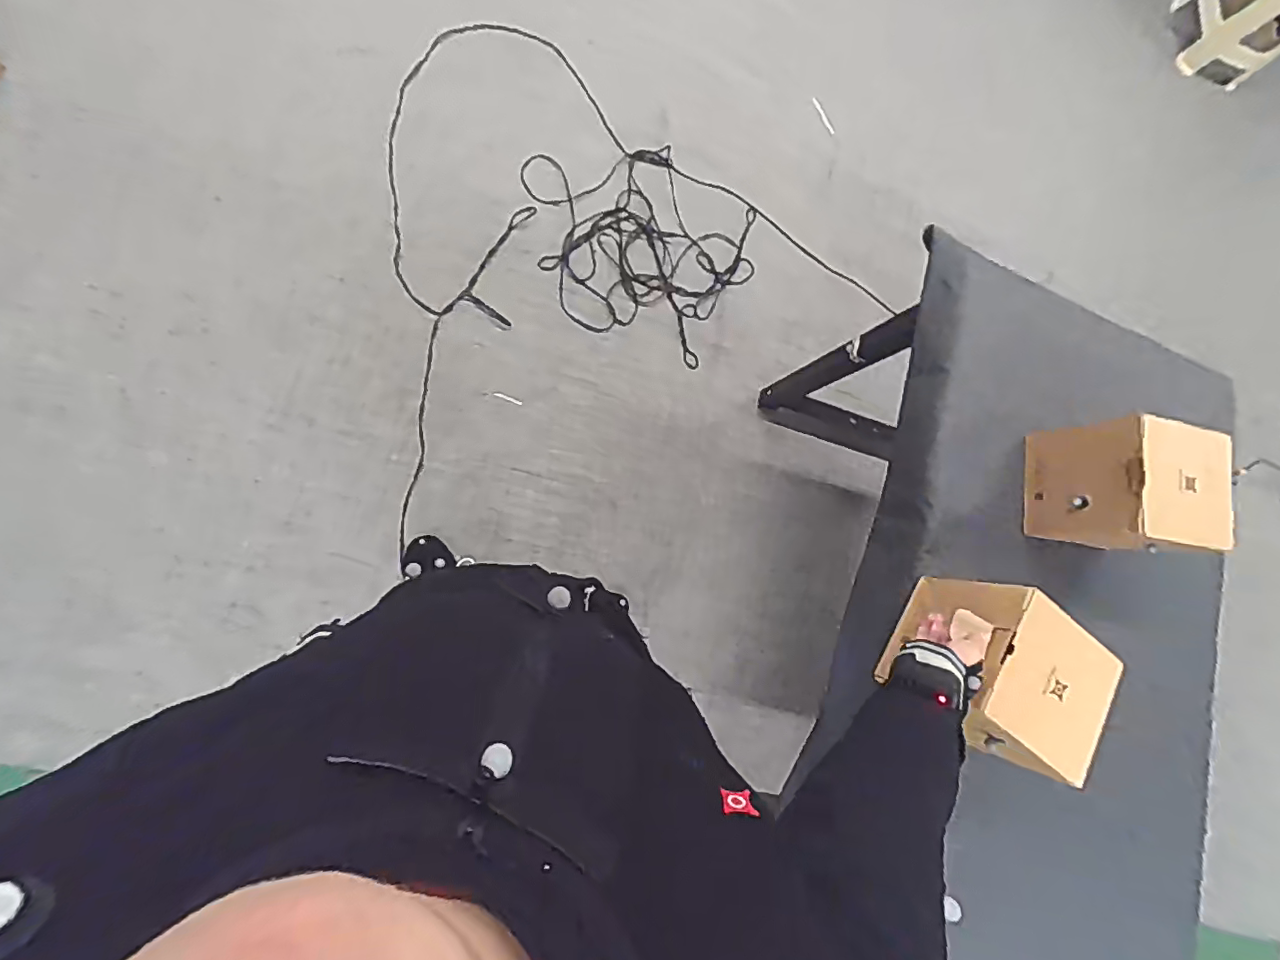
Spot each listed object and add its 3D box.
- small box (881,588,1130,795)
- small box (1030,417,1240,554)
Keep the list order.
[{"bbox_3d":[0.455,0.251,0.690,0.179,0.176,0.168,37,74,-10],"label":"small box"},{"bbox_3d":[0.715,0.016,0.796,0.179,0.176,0.168,9,83,-16],"label":"small box"}]
